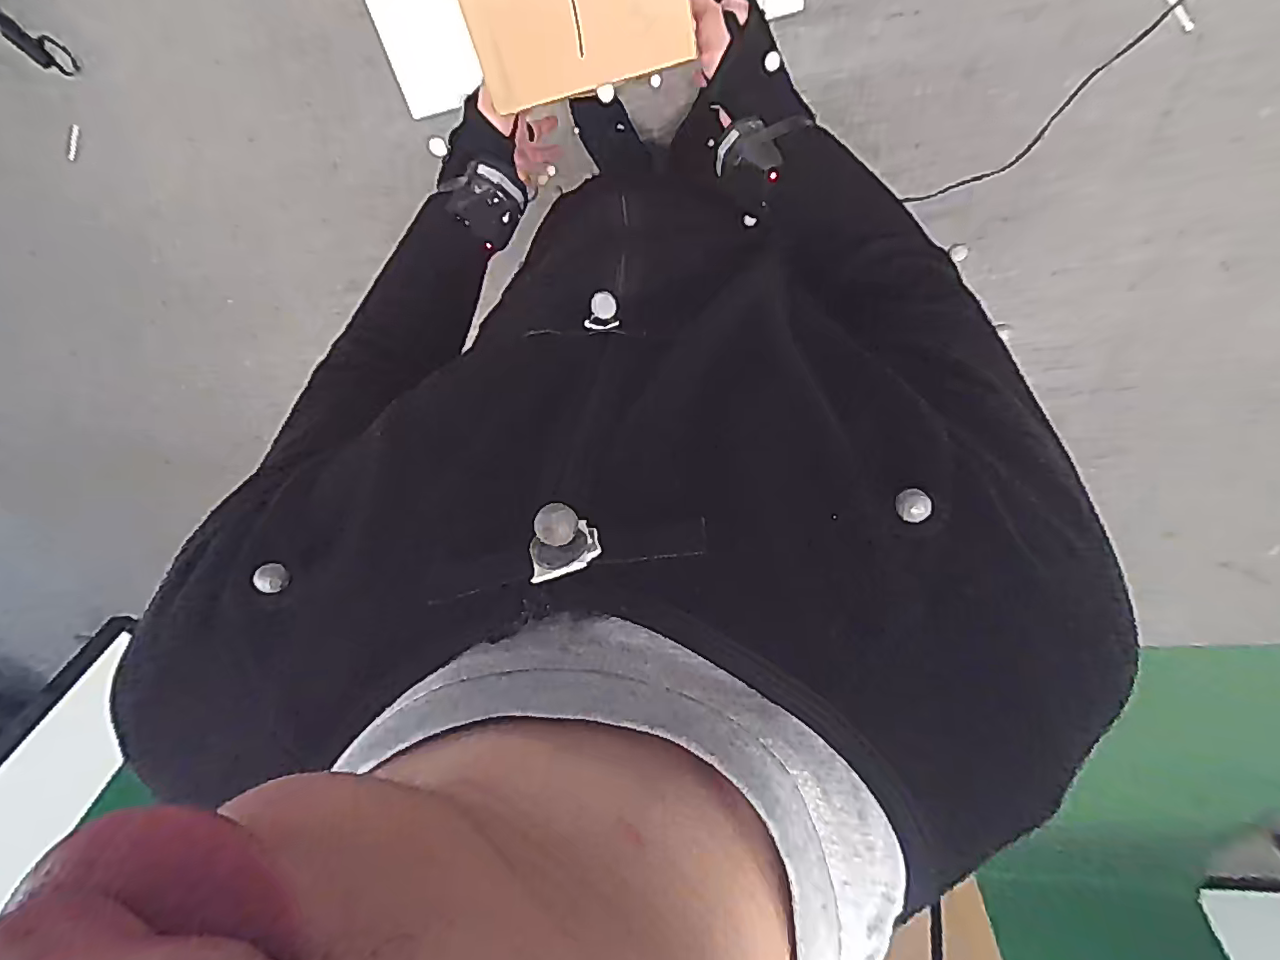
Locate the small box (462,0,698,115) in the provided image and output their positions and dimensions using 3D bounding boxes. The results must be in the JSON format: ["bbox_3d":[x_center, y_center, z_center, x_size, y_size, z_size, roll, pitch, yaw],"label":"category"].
[{"bbox_3d":[-0.049,-0.421,0.433,0.168,0.176,0.179,-7,129,11],"label":"small box"}]
